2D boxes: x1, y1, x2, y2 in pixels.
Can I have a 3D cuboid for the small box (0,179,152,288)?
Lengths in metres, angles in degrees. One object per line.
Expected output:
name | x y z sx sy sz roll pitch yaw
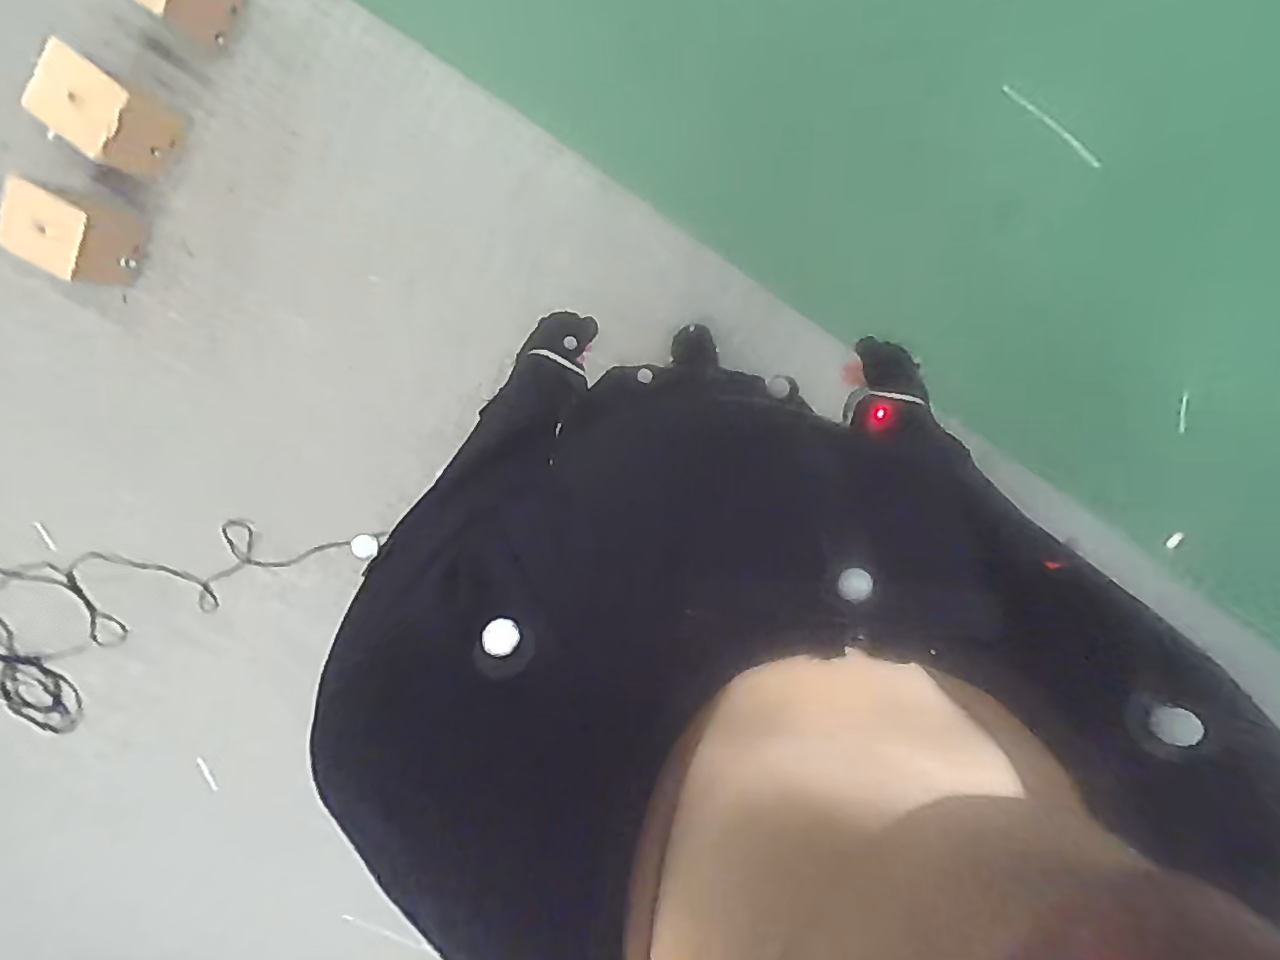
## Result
small box | -1.329 -0.569 1.279 0.179 0.176 0.168 29 104 -8

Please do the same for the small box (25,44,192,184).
small box | -1.185 -0.808 1.220 0.179 0.176 0.168 38 101 -9
